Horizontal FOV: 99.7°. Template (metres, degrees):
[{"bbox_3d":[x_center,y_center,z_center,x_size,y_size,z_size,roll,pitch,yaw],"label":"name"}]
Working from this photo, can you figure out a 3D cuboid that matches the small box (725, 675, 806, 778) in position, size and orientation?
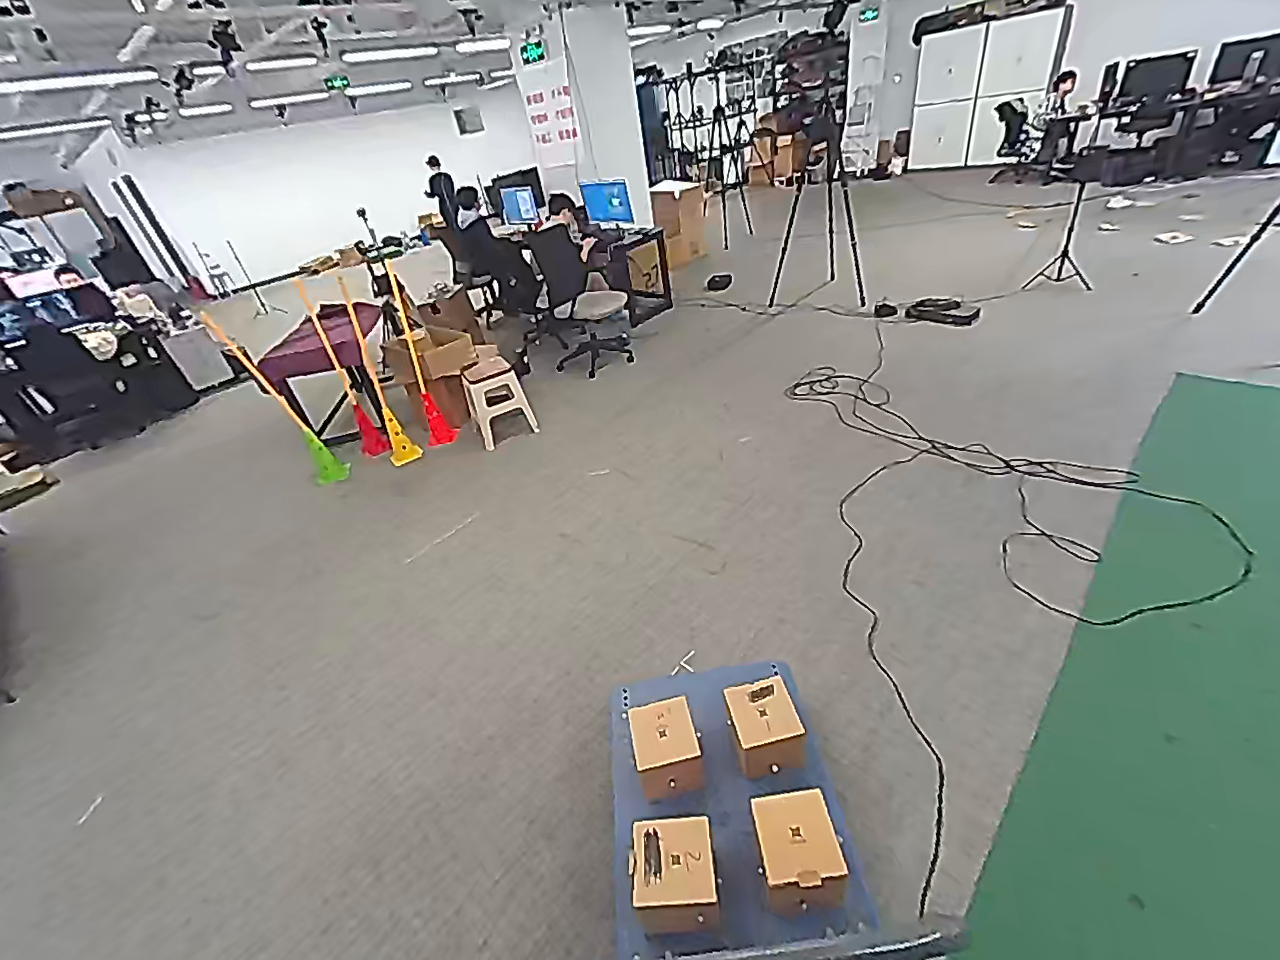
[{"bbox_3d":[0.335,0.666,1.463,0.168,0.176,0.179,-13,35,-2],"label":"small box"}]

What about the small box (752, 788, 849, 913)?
[{"bbox_3d":[0.353,0.835,1.220,0.168,0.176,0.179,-9,35,1],"label":"small box"}]

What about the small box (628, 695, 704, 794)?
[{"bbox_3d":[0.071,0.719,1.459,0.168,0.176,0.179,-12,34,-3],"label":"small box"}]
